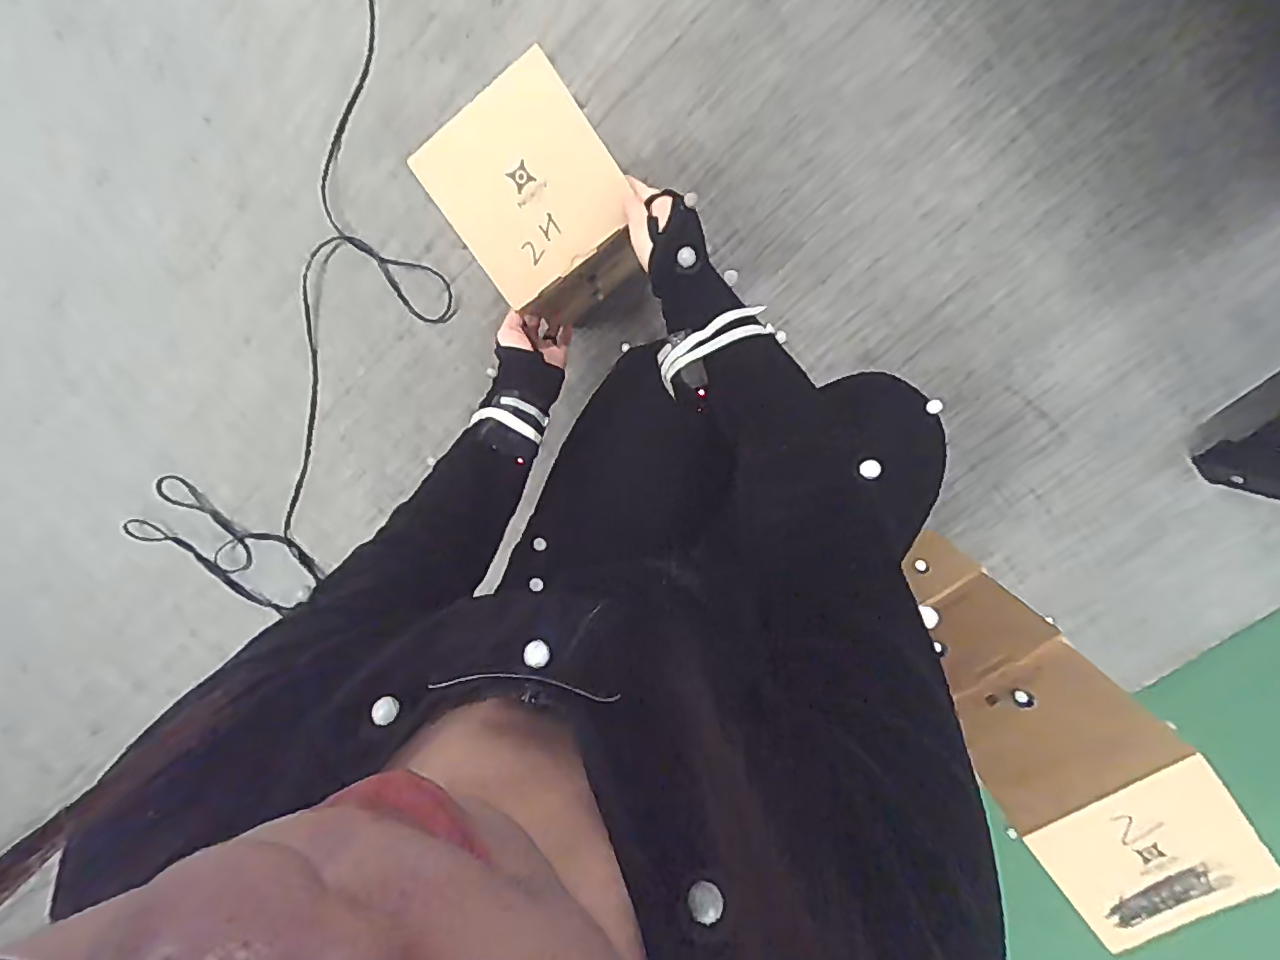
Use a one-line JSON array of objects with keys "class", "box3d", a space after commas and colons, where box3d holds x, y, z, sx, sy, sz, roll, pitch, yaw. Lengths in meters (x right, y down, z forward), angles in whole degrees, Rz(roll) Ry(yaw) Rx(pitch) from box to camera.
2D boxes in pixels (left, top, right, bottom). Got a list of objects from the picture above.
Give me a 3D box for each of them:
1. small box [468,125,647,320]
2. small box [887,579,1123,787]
[{"class": "small box", "box3d": [-0.101, -0.342, 0.764, 0.179, 0.176, 0.168, -37, 101, 10]}, {"class": "small box", "box3d": [0.474, 0.258, 0.733, 0.168, 0.176, 0.179, -39, 101, 12]}]
